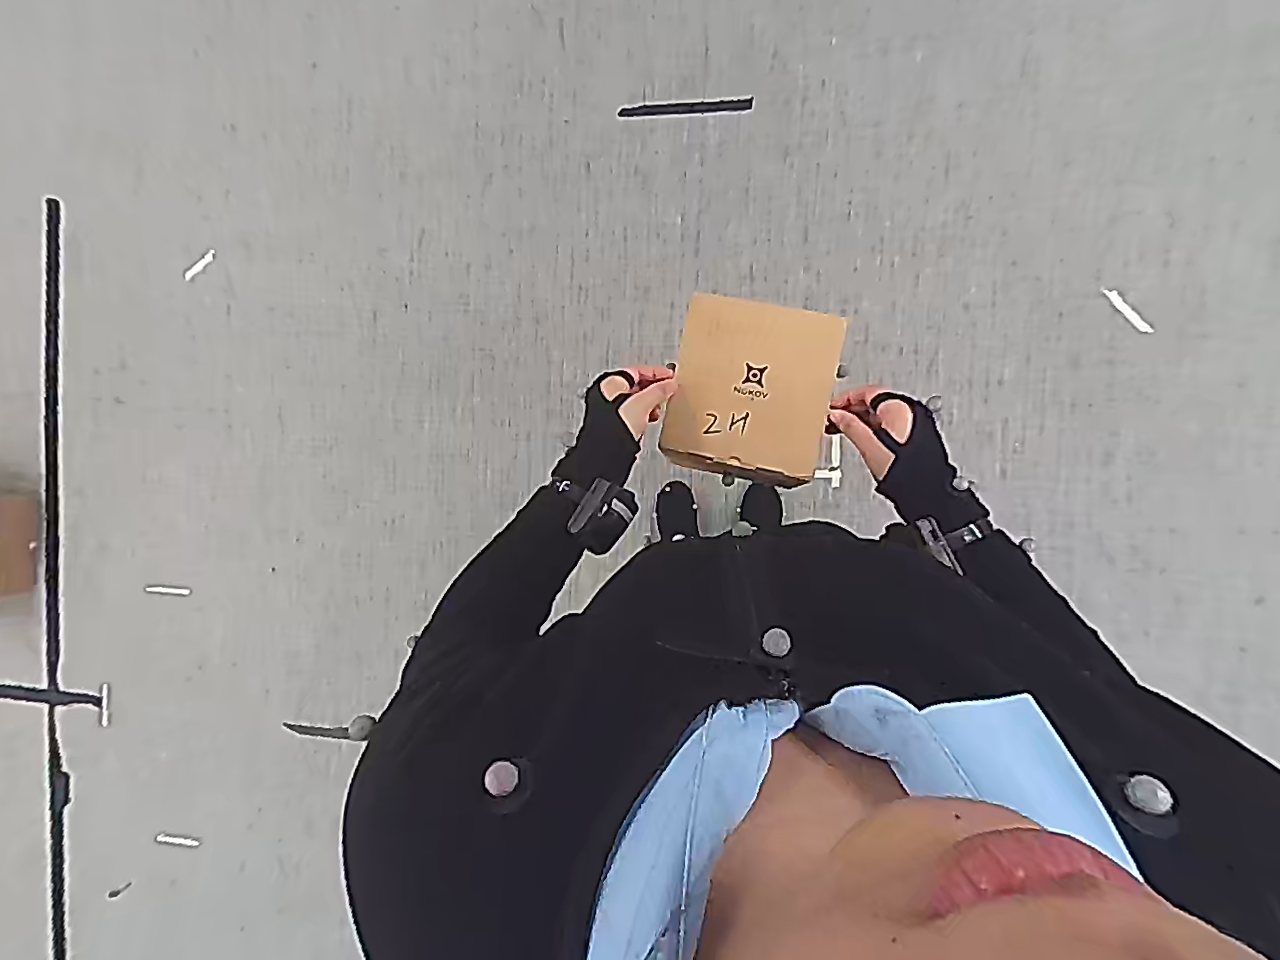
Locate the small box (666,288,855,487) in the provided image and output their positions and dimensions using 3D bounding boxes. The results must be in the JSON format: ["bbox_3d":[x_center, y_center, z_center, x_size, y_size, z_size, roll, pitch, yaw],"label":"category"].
[{"bbox_3d":[0.132,-0.096,0.634,0.168,0.176,0.179,12,88,8],"label":"small box"}]
